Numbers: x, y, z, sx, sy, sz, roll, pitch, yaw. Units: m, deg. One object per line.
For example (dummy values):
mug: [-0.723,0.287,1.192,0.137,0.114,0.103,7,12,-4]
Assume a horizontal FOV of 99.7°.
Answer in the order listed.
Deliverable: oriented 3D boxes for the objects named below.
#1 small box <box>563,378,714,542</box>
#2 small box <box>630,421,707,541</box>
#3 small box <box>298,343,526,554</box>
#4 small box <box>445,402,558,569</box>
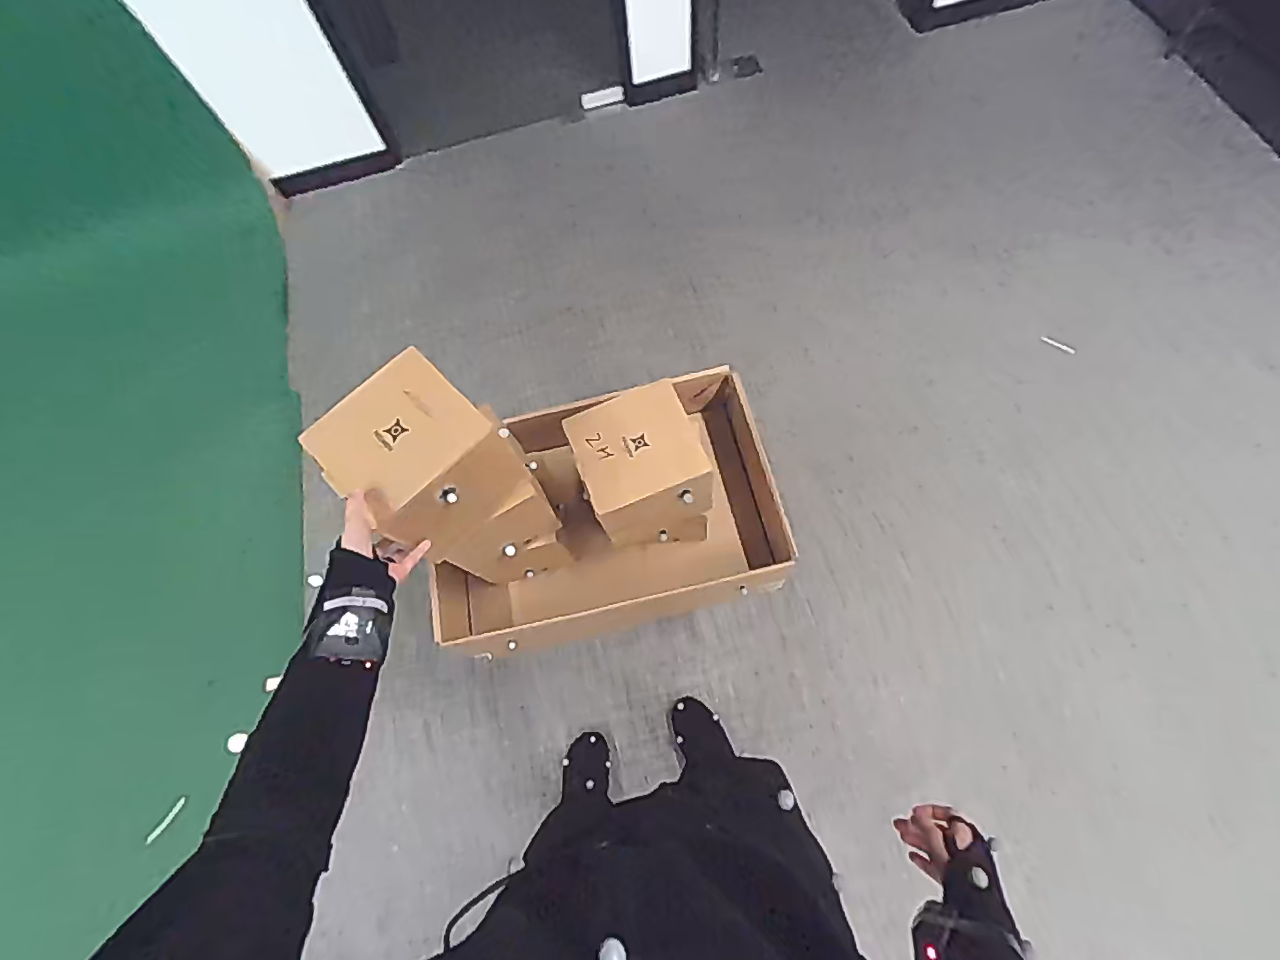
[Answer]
small box: [0.002,-0.023,0.836,0.179,0.176,0.168,-21,67,-2]
small box: [0.034,0.011,0.997,0.168,0.176,0.179,-5,68,5]
small box: [-0.274,-0.029,0.690,0.179,0.176,0.168,-43,72,-10]
small box: [-0.250,0.016,0.845,0.168,0.176,0.179,-29,69,-5]
